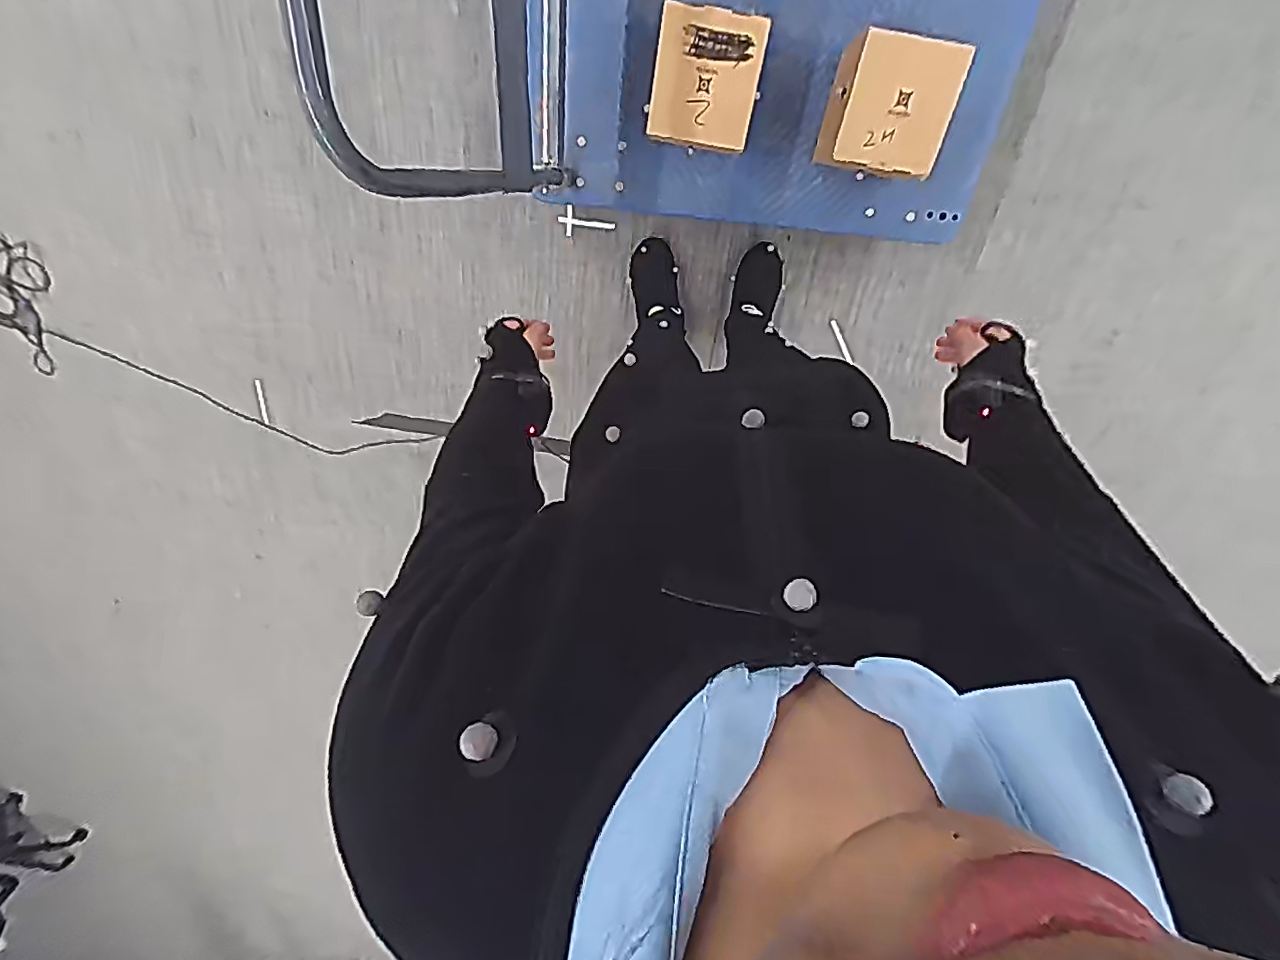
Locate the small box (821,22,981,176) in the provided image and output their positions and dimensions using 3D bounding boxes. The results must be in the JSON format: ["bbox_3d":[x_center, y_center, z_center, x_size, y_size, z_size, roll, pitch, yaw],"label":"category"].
[{"bbox_3d":[0.423,-0.629,0.914,0.168,0.176,0.179,11,119,0],"label":"small box"}]
